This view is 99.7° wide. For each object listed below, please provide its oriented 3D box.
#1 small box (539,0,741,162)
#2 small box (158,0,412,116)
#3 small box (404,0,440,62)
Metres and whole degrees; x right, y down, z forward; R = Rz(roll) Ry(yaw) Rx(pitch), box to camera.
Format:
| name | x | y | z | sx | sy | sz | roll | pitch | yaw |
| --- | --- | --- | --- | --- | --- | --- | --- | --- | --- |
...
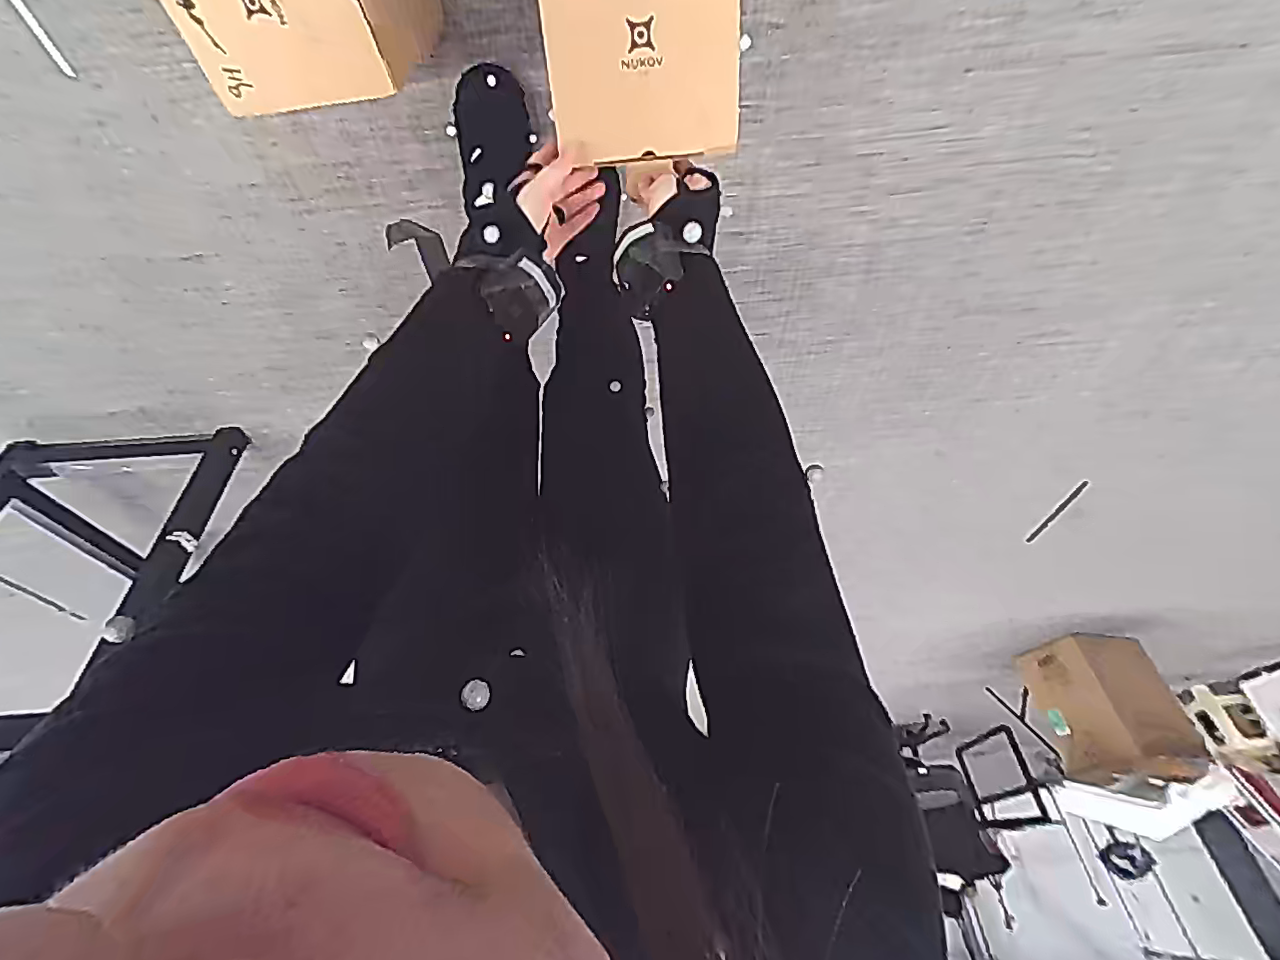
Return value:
| name | x | y | z | sx | sy | sz | roll | pitch | yaw |
| --- | --- | --- | --- | --- | --- | --- | --- | --- | --- |
| small box | 0.003 | -0.413 | 0.513 | 0.168 | 0.176 | 0.179 | -3 | 123 | 2 |
| small box | -0.338 | -0.484 | 0.521 | 0.179 | 0.176 | 0.168 | -7 | 142 | 1 |
| small box | -0.344 | -0.613 | 0.623 | 0.168 | 0.176 | 0.179 | -3 | 142 | -3 |
